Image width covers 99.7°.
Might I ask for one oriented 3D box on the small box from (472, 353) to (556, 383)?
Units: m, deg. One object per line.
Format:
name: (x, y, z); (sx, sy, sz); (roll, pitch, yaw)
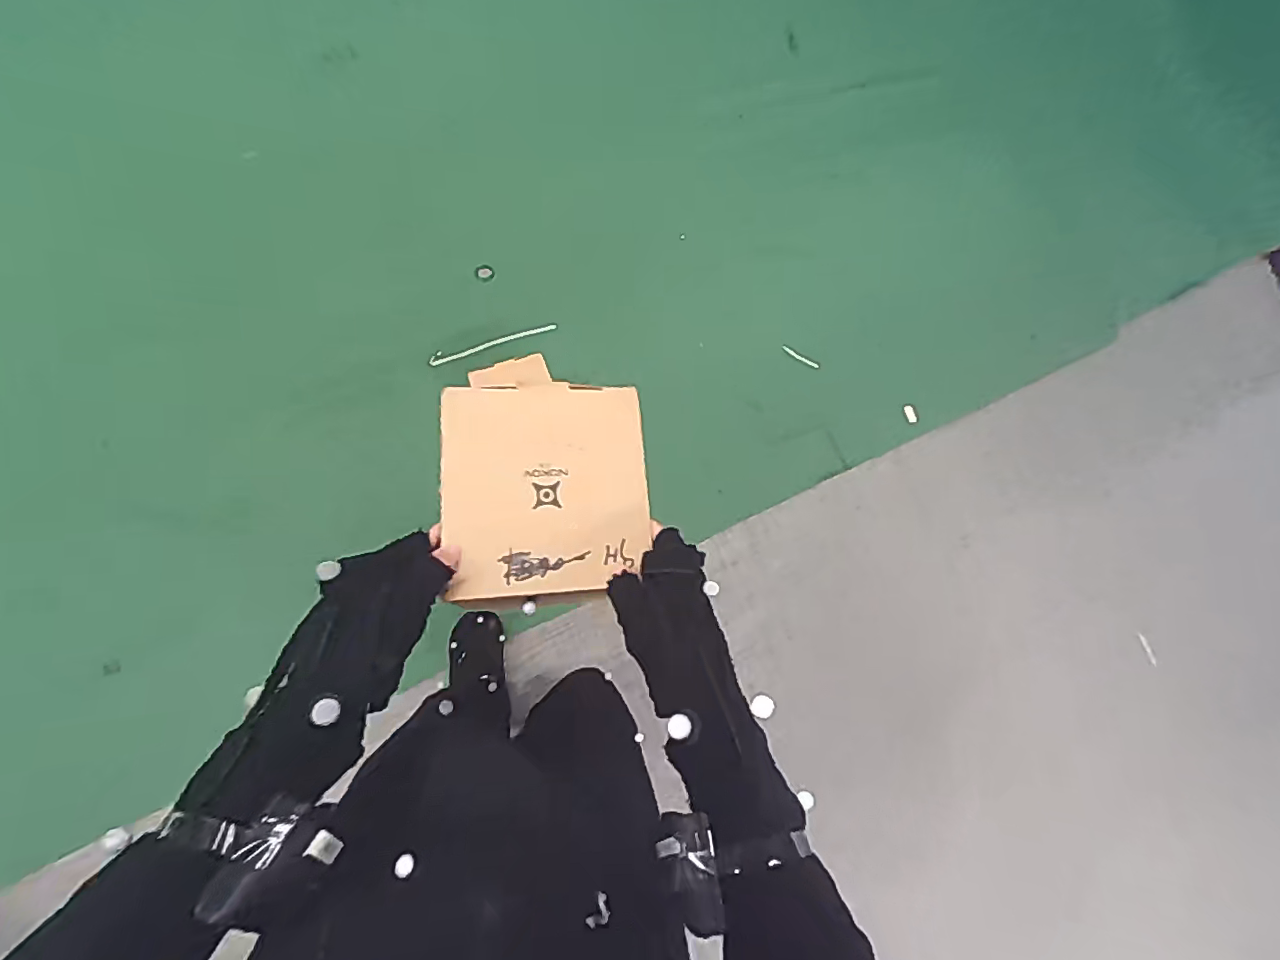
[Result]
small box: (-0.270, -0.159, 1.225); (0.168, 0.176, 0.179); (-21, 88, -15)

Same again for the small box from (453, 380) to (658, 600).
small box: (-0.086, 0.019, 0.527); (0.168, 0.176, 0.179); (-2, 75, -12)
